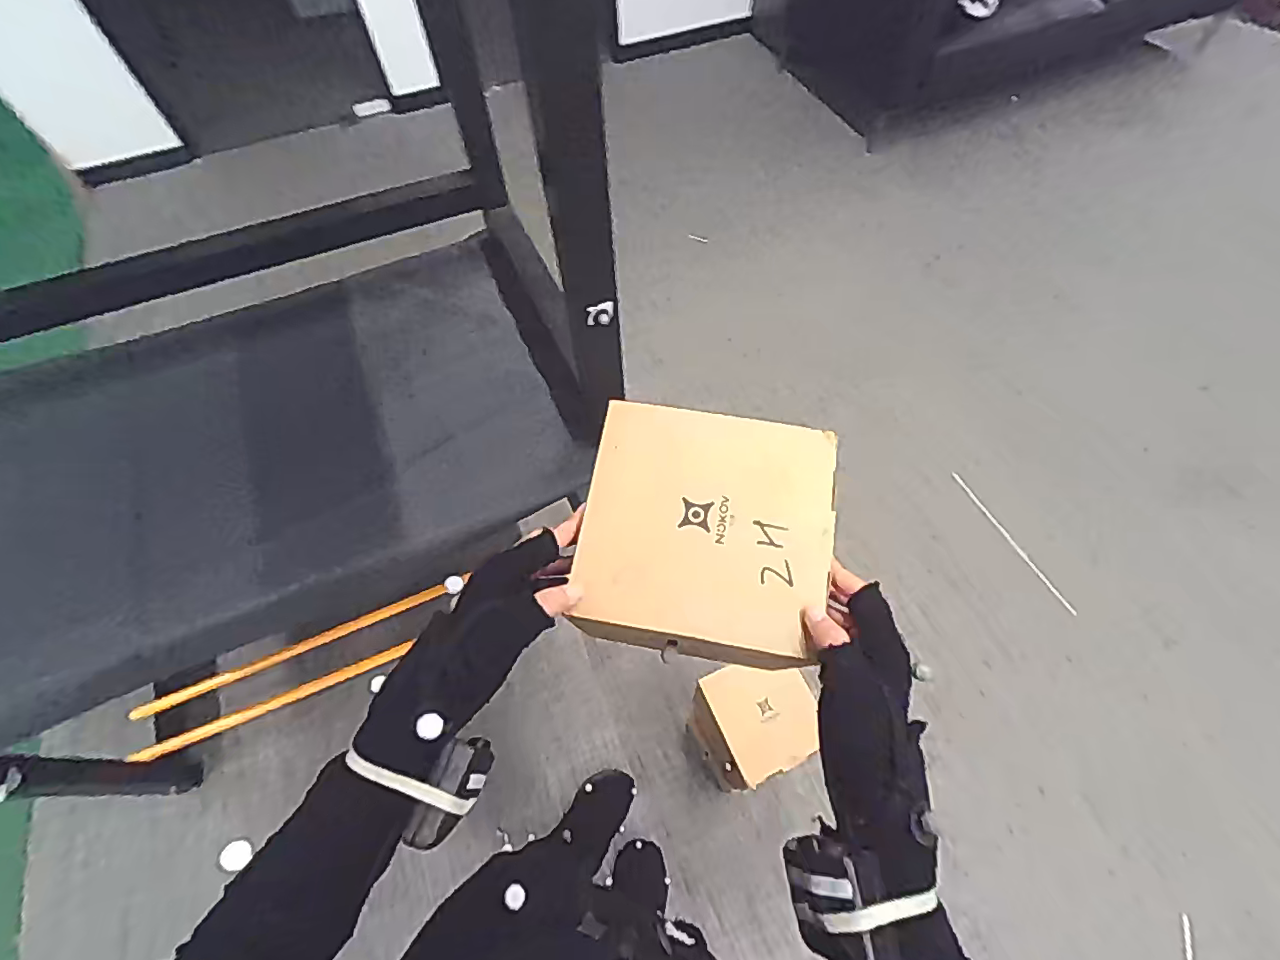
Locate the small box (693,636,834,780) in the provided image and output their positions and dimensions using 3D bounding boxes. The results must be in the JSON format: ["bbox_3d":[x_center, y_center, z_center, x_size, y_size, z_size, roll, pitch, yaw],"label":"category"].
[{"bbox_3d":[0.202,0.403,0.947,0.168,0.176,0.179,-22,63,-10],"label":"small box"}]
